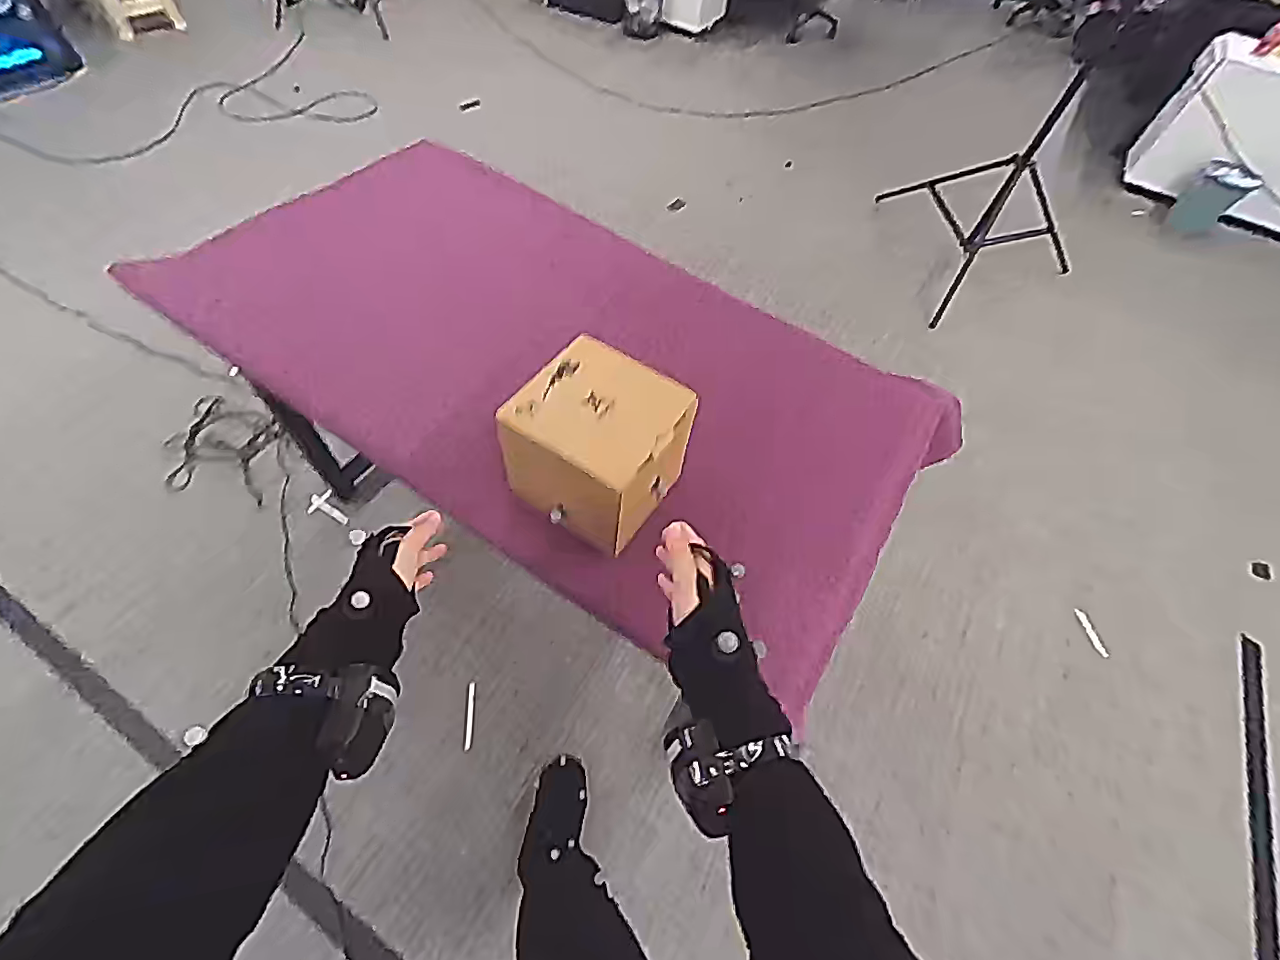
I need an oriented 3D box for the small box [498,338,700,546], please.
[{"bbox_3d":[-0.051,-0.038,0.686,0.179,0.176,0.168,31,60,13],"label":"small box"}]
